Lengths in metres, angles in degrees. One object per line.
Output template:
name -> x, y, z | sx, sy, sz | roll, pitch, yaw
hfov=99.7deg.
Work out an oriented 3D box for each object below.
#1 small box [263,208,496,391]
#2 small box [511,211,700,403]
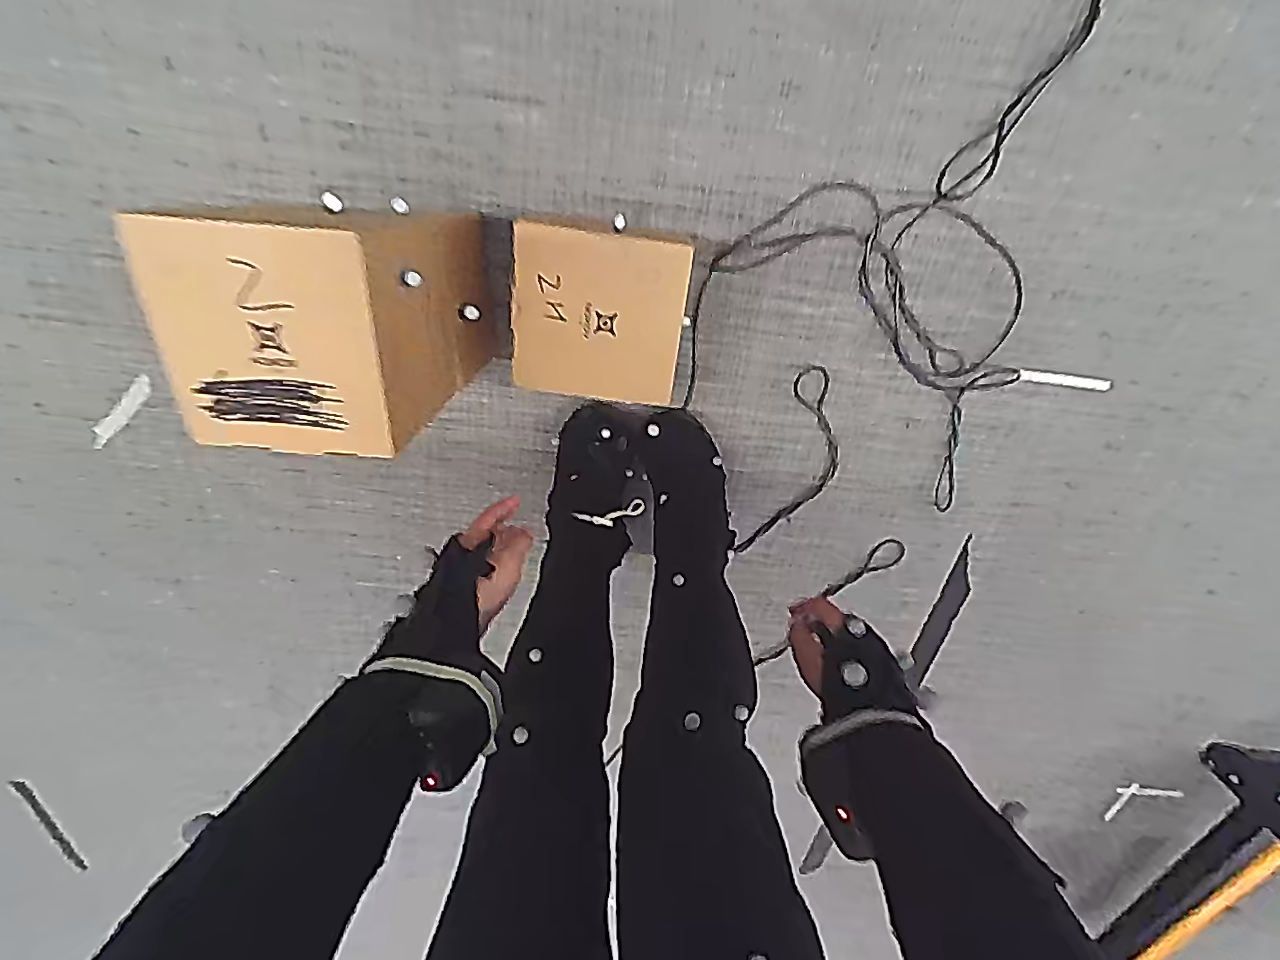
small box -> -0.272, -0.211, 0.614 | 0.168, 0.176, 0.179 | 0, 118, 1
small box -> -0.039, -0.201, 0.611 | 0.179, 0.176, 0.168 | 8, 118, -2
